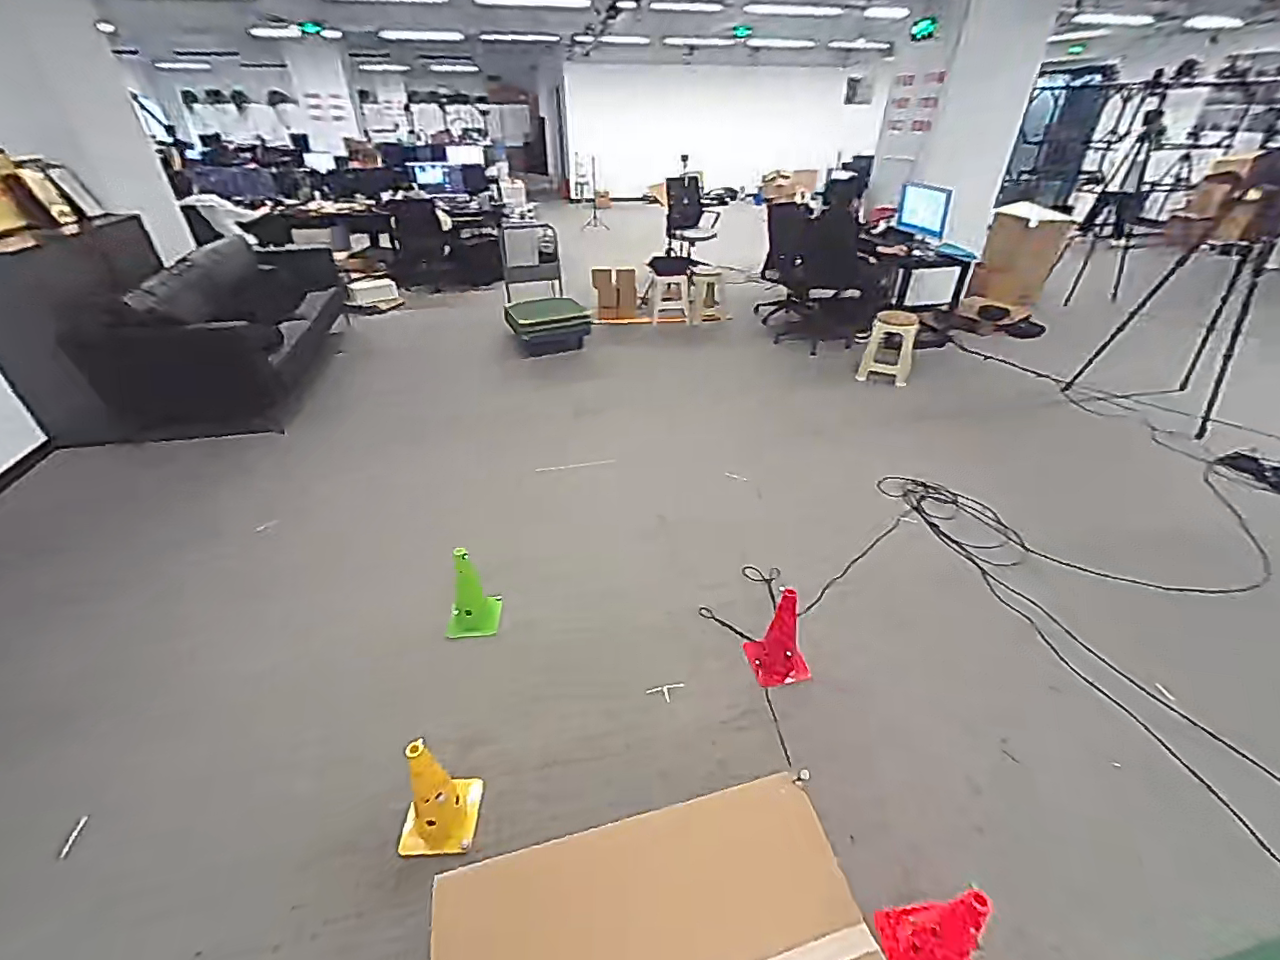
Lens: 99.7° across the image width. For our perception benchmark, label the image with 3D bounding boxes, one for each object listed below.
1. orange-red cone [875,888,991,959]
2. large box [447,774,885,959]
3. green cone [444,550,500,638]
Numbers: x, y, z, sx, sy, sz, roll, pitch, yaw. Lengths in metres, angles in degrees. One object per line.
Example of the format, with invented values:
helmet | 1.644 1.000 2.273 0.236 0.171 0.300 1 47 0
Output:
orange-red cone | 0.695 0.995 1.203 0.199 0.360 0.198 -2 35 -5
large box | 0.033 0.587 0.577 0.408 0.320 0.320 -10 42 -12
green cone | -0.673 0.410 2.072 0.200 0.368 0.202 -4 36 -5
